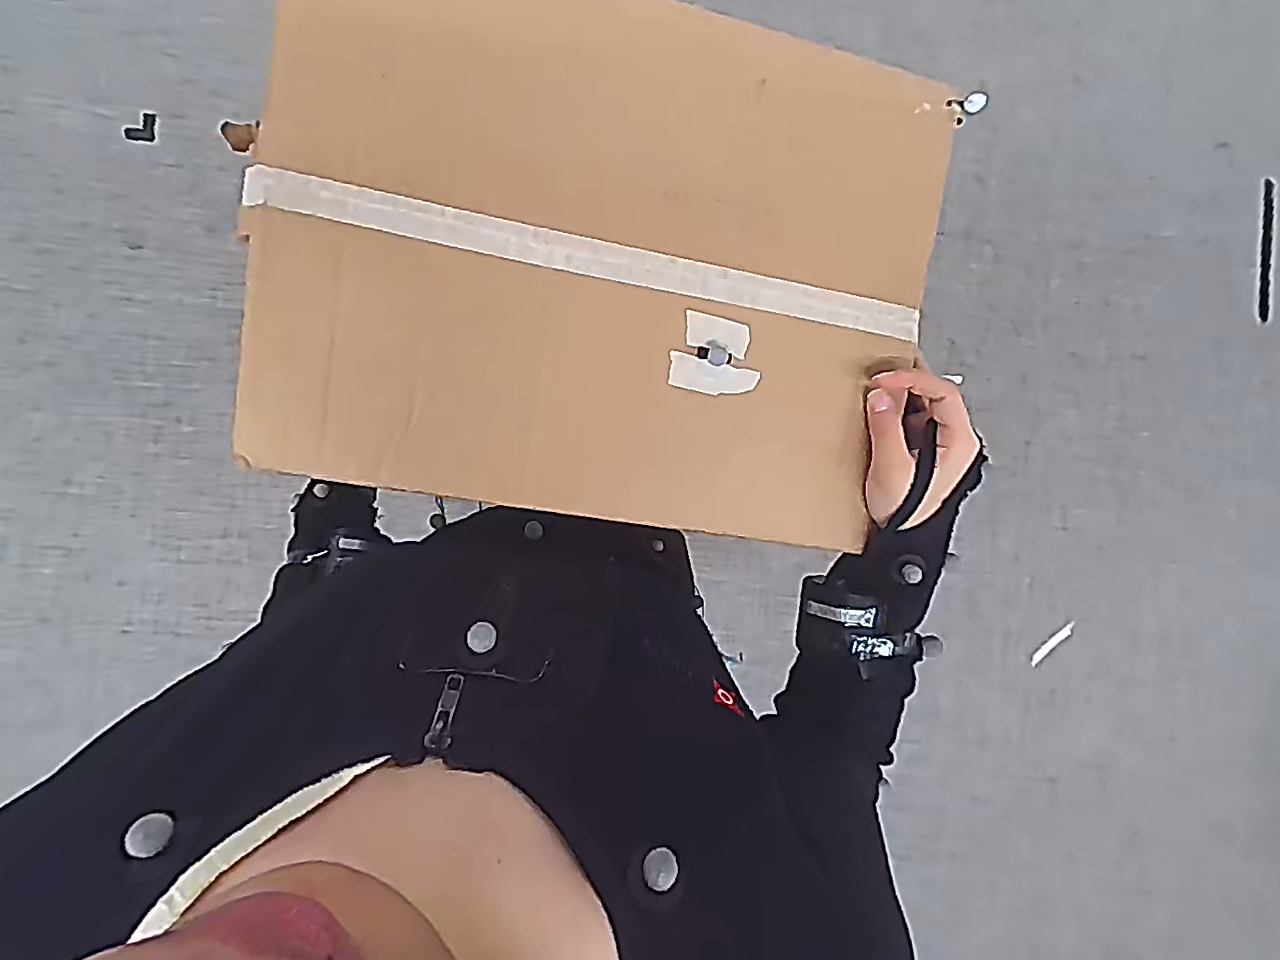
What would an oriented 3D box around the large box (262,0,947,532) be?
[{"bbox_3d":[-0.033,-0.152,0.484,0.408,0.320,0.320,9,95,-11],"label":"large box"}]
